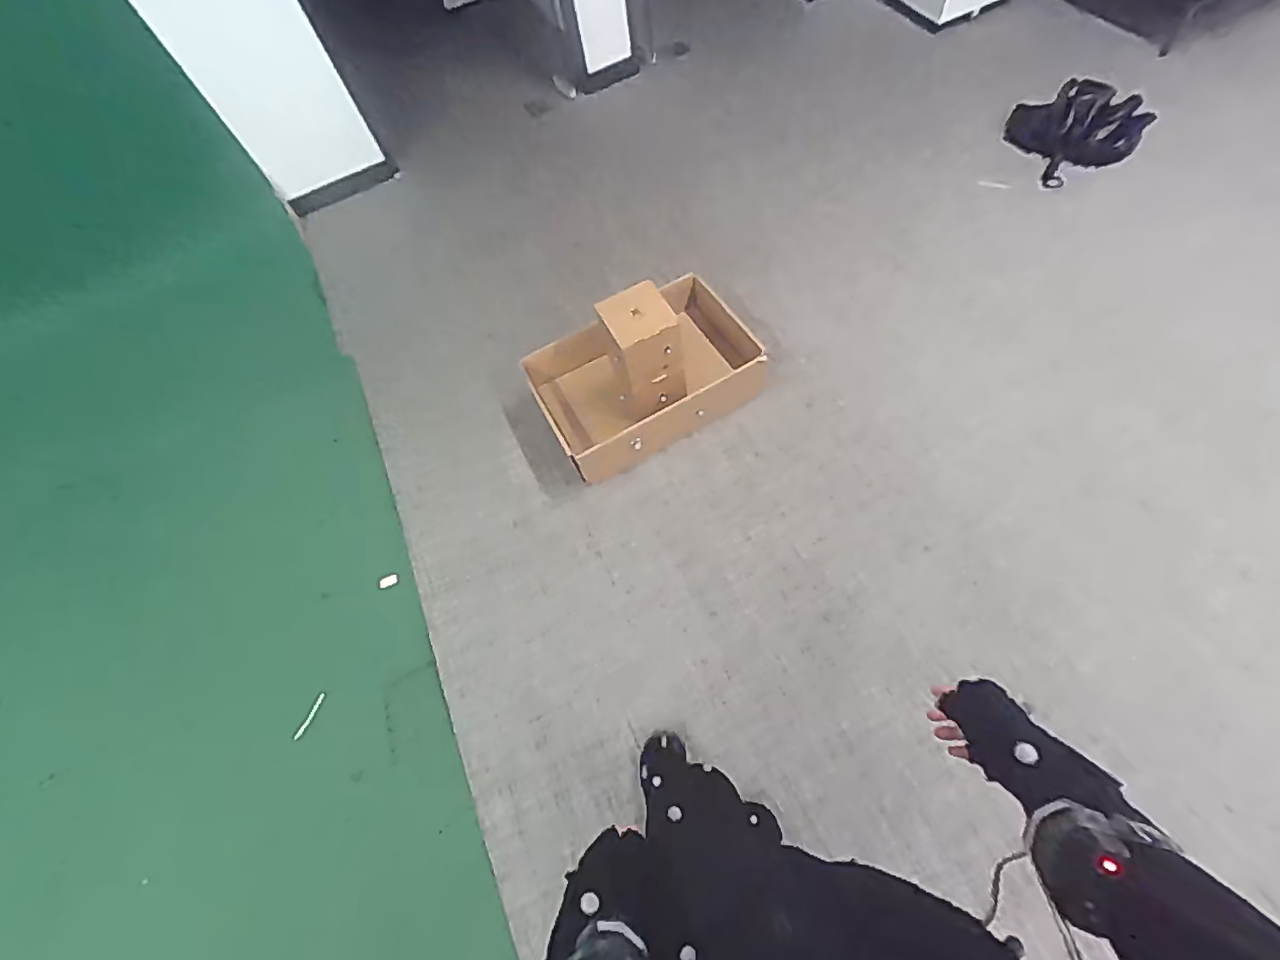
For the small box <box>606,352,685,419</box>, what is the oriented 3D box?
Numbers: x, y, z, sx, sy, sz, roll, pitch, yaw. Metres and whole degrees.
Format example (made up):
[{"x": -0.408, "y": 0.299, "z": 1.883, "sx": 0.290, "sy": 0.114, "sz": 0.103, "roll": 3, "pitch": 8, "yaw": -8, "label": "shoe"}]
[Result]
[{"x": 0.022, "y": -0.301, "z": 1.576, "sx": 0.168, "sy": 0.176, "sz": 0.179, "roll": -26, "pitch": 63, "yaw": -5, "label": "small box"}]

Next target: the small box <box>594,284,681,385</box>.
[{"x": 0.000, "y": -0.375, "z": 1.433, "sx": 0.168, "sy": 0.176, "sz": 0.179, "roll": -27, "pitch": 62, "yaw": -6, "label": "small box"}]
